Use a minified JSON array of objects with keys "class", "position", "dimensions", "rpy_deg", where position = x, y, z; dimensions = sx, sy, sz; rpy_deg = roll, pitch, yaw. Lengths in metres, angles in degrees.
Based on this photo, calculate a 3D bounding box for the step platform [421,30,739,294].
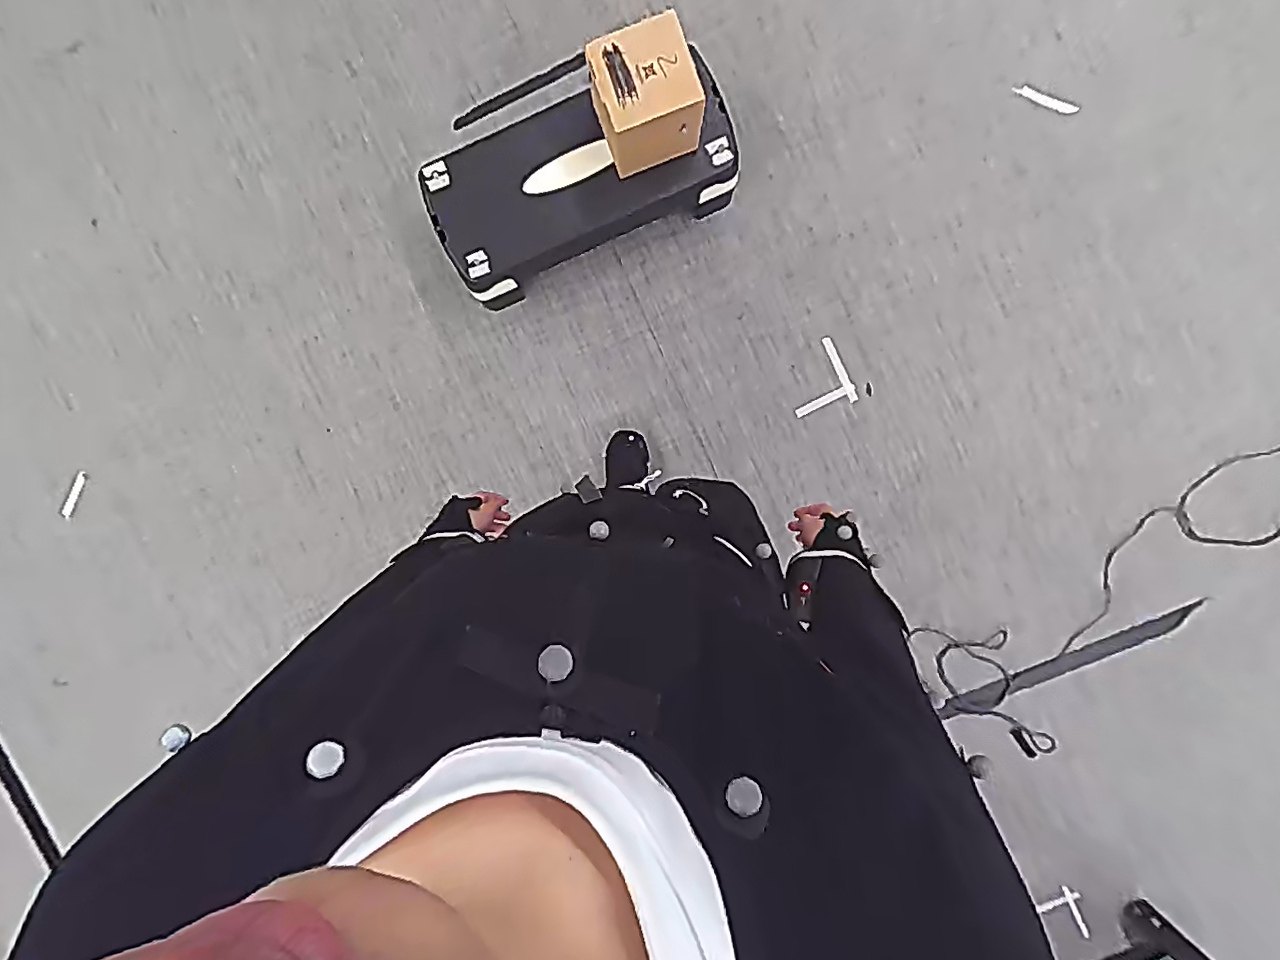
[{"class":"step platform","position":[-0.127,-0.694,1.218],"dimensions":[0.684,0.204,0.286],"rpy_deg":[-24,93,3]}]
